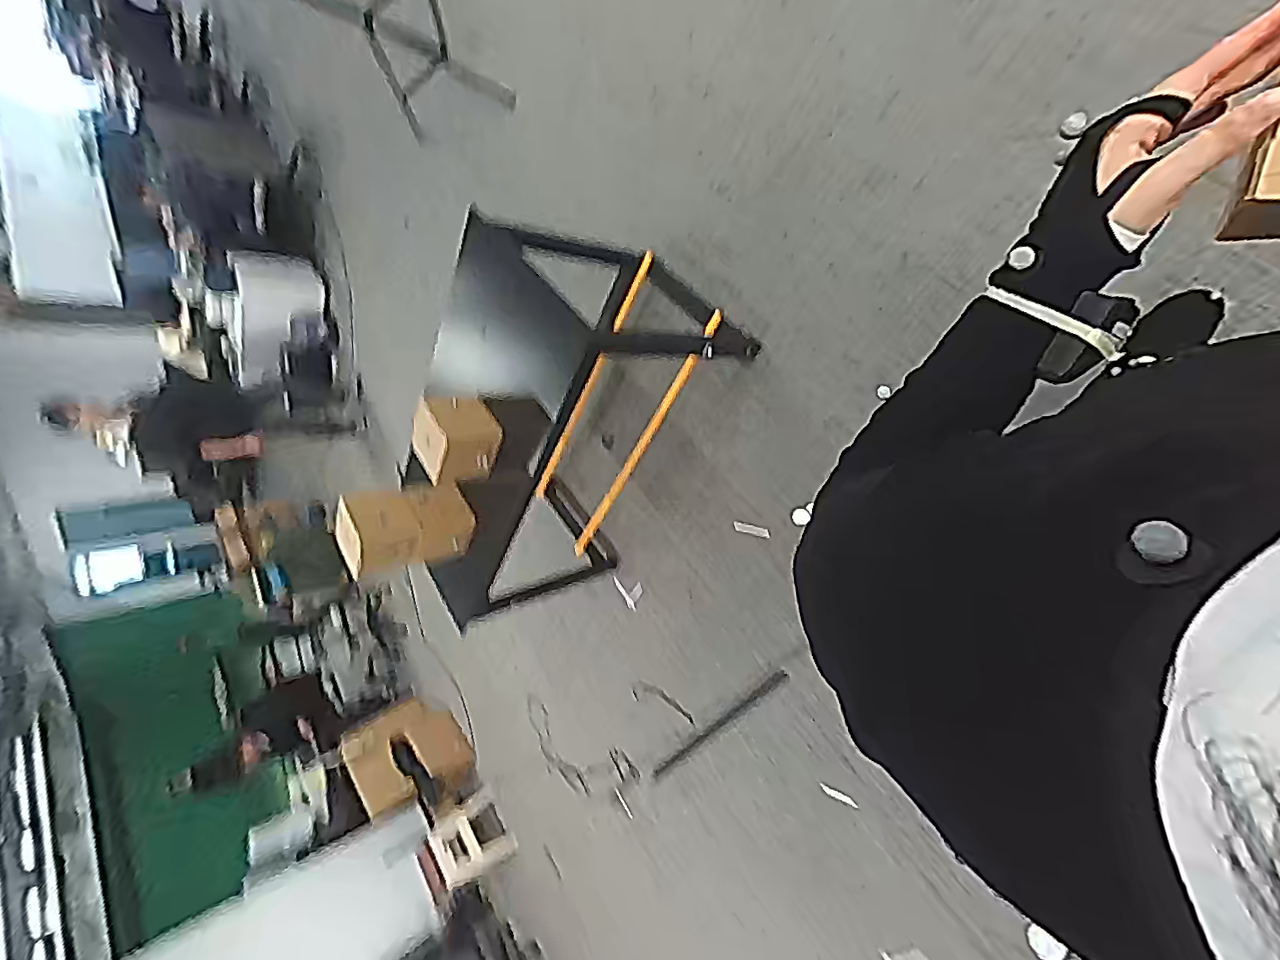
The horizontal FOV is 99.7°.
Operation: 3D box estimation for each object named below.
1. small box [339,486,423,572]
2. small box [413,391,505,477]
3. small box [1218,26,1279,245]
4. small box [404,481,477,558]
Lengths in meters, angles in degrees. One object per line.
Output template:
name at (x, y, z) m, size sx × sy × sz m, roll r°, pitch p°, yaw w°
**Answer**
small box at (-0.761, 0.135, 1.588) m, size 0.179 × 0.176 × 0.168 m, roll 50°, pitch 129°, yaw 26°
small box at (-0.506, -0.134, 1.513) m, size 0.179 × 0.176 × 0.168 m, roll 50°, pitch 131°, yaw 25°
small box at (0.457, -0.226, 0.286) m, size 0.179 × 0.176 × 0.168 m, roll 16°, pitch 111°, yaw 39°
small box at (-0.639, 0.116, 1.697) m, size 0.179 × 0.176 × 0.168 m, roll 52°, pitch 131°, yaw 24°
